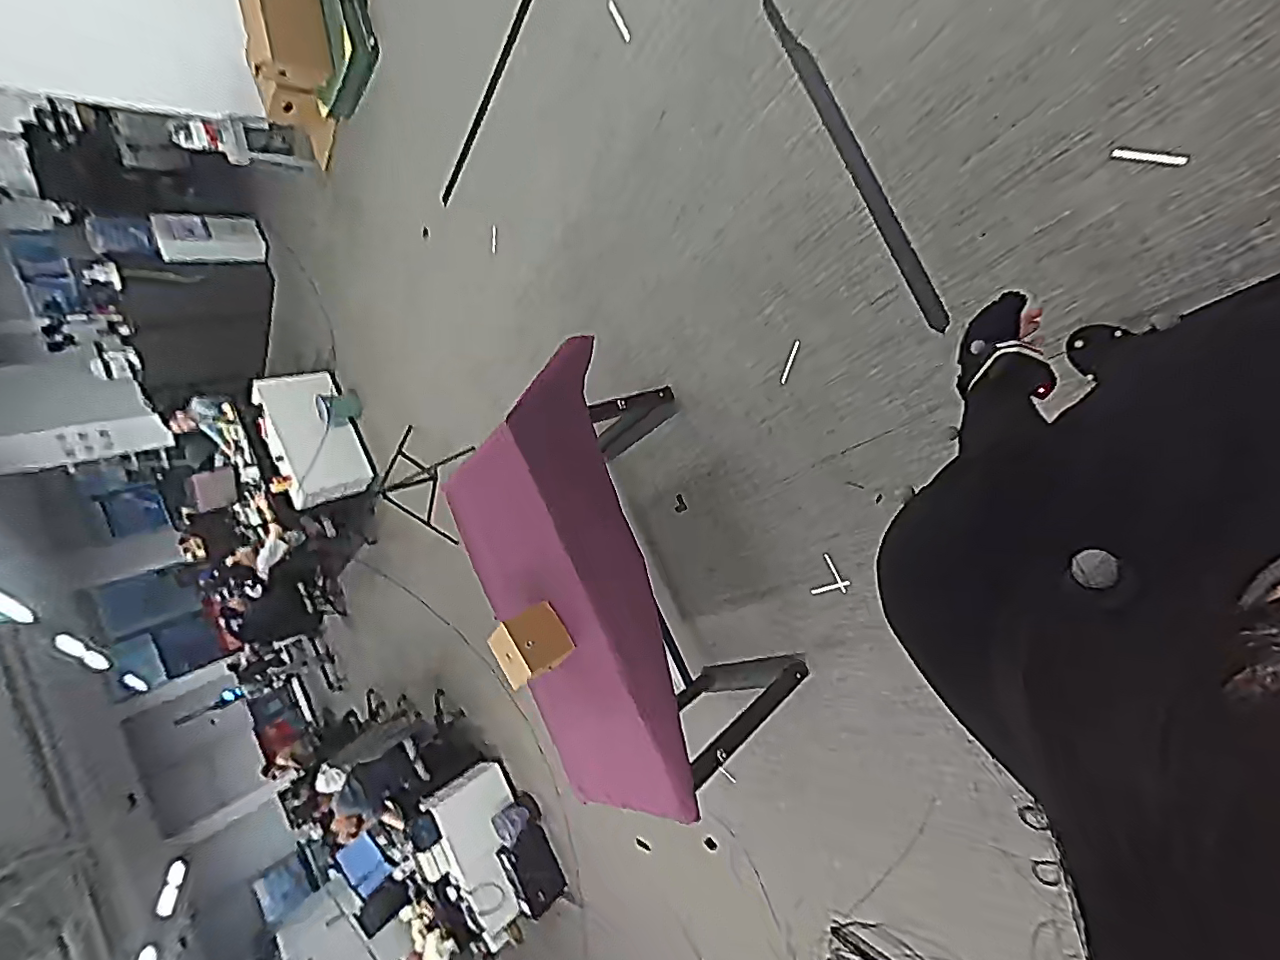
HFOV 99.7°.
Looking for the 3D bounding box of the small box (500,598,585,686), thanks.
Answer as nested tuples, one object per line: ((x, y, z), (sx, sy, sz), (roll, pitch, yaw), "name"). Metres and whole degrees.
((-0.297, 0.494, 1.659), (0.179, 0.176, 0.168), (55, 137, 17), "small box")
